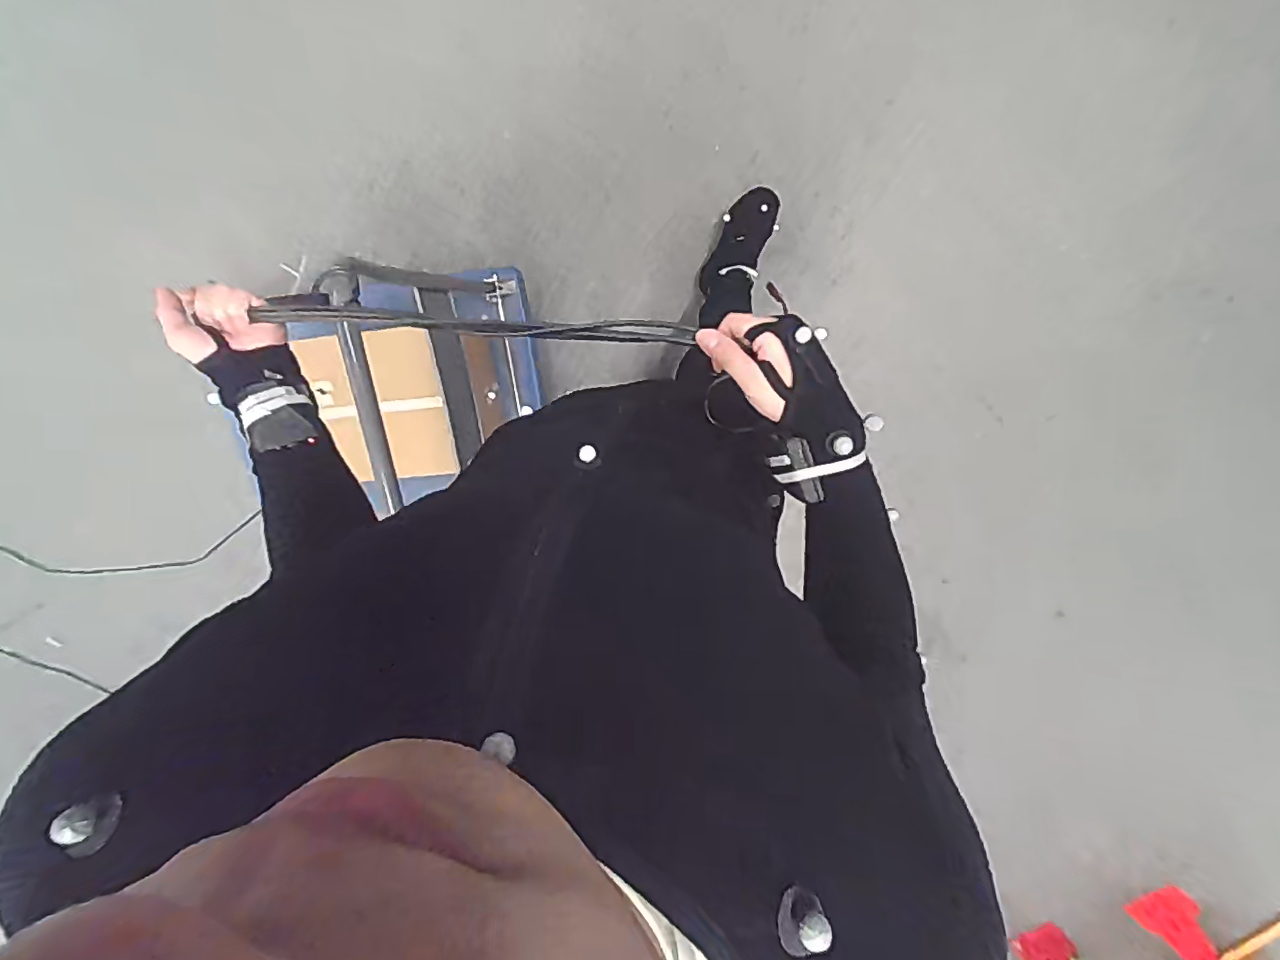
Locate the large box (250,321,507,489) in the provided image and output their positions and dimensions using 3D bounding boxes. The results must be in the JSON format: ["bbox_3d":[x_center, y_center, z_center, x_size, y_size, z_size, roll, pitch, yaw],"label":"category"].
[{"bbox_3d":[-0.574,-0.188,1.268,0.408,0.320,0.320,-5,106,6],"label":"large box"}]
